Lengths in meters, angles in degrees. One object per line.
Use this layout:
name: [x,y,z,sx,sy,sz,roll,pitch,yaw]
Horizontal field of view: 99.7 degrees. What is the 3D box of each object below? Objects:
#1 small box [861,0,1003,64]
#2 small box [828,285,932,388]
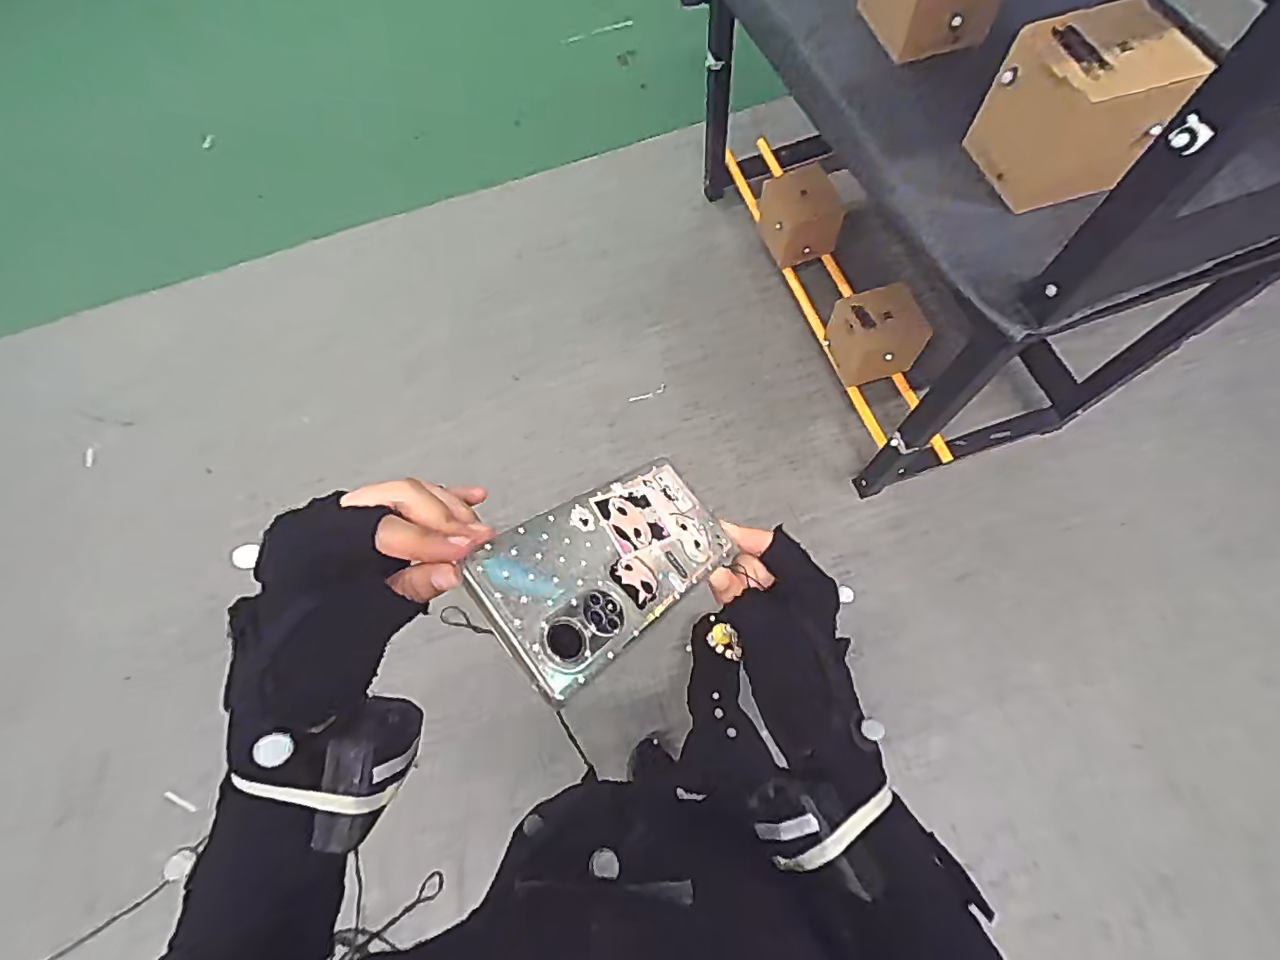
small box: [0.496,-0.846,0.902,0.168,0.176,0.179,-16,68,-1]
small box: [0.596,-0.357,1.375,0.179,0.176,0.168,-16,69,0]
